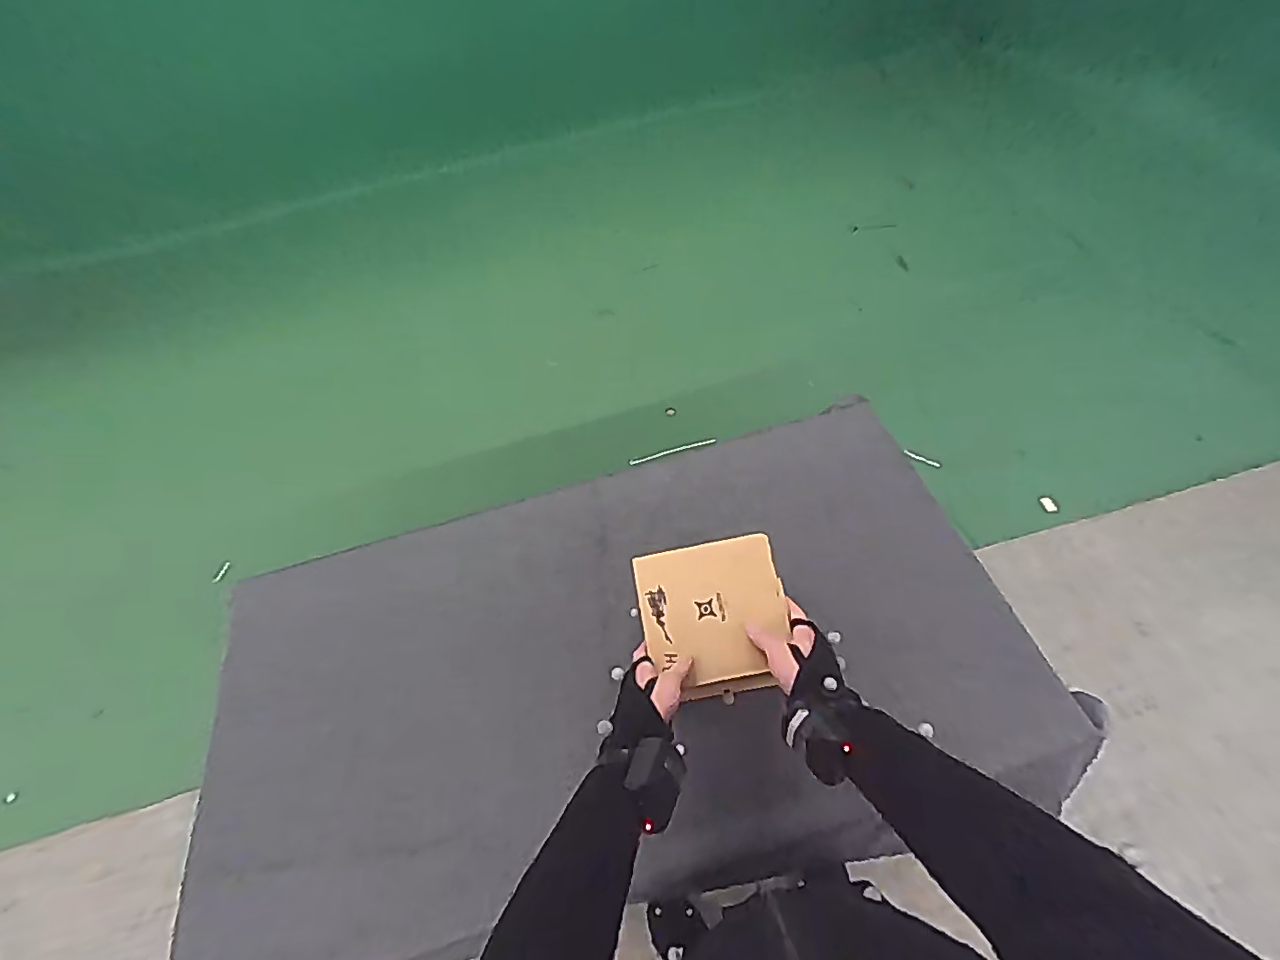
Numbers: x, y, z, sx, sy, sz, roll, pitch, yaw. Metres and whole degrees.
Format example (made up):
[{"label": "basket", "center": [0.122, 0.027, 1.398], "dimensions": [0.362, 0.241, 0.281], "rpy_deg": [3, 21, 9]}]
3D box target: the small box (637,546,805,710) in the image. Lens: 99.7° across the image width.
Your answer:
[{"label": "small box", "center": [0.099, 0.203, 0.720], "dimensions": [0.179, 0.176, 0.168], "rpy_deg": [-11, 62, 1]}]
